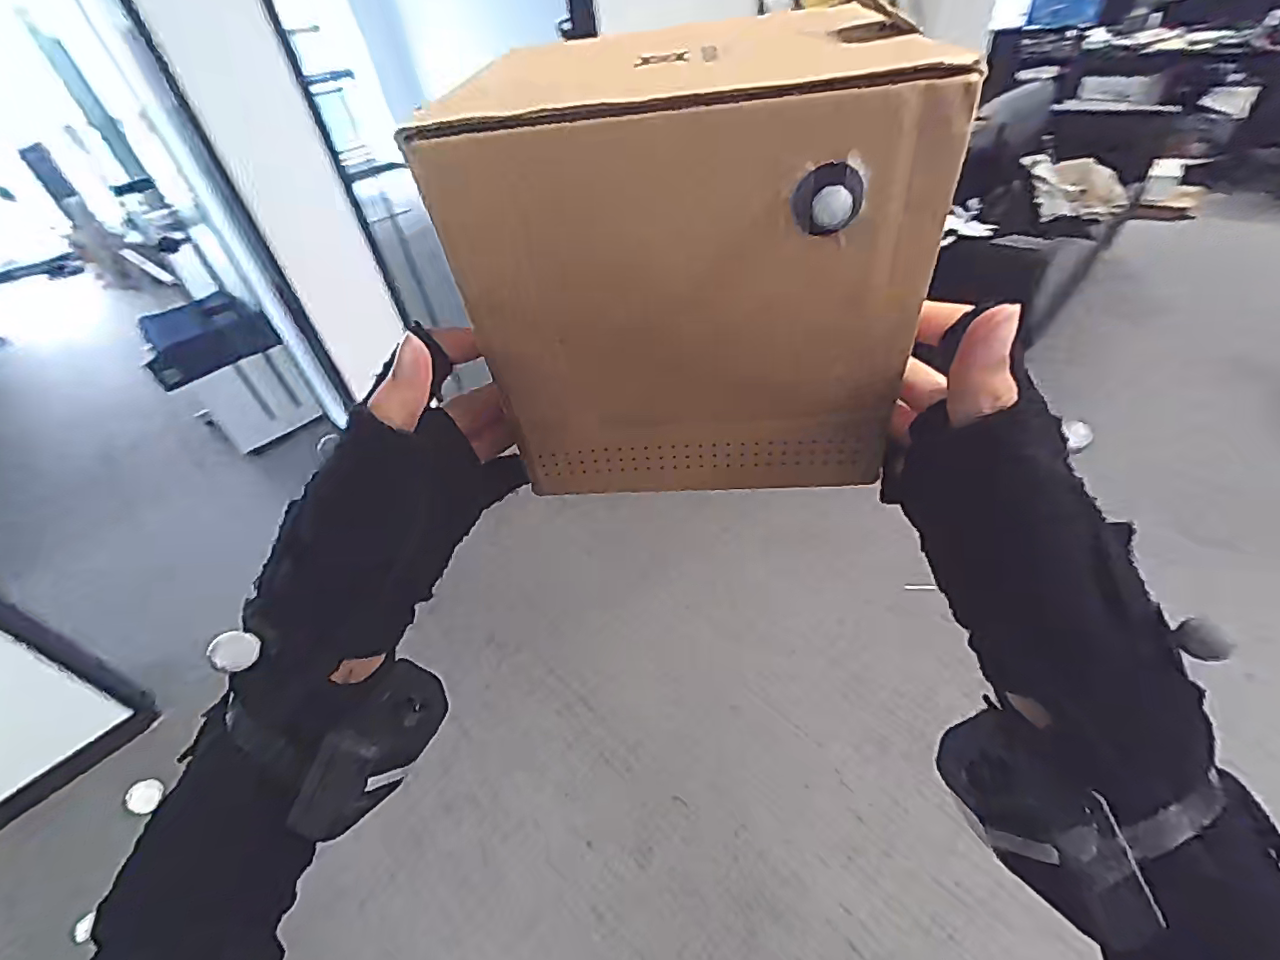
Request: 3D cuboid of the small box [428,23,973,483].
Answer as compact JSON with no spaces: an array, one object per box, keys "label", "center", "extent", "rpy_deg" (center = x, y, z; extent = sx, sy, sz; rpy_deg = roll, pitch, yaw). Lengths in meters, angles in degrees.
[{"label":"small box","center":[0.029,-0.110,0.280],"extent":[0.179,0.176,0.168],"rpy_deg":[-1,45,7]}]
